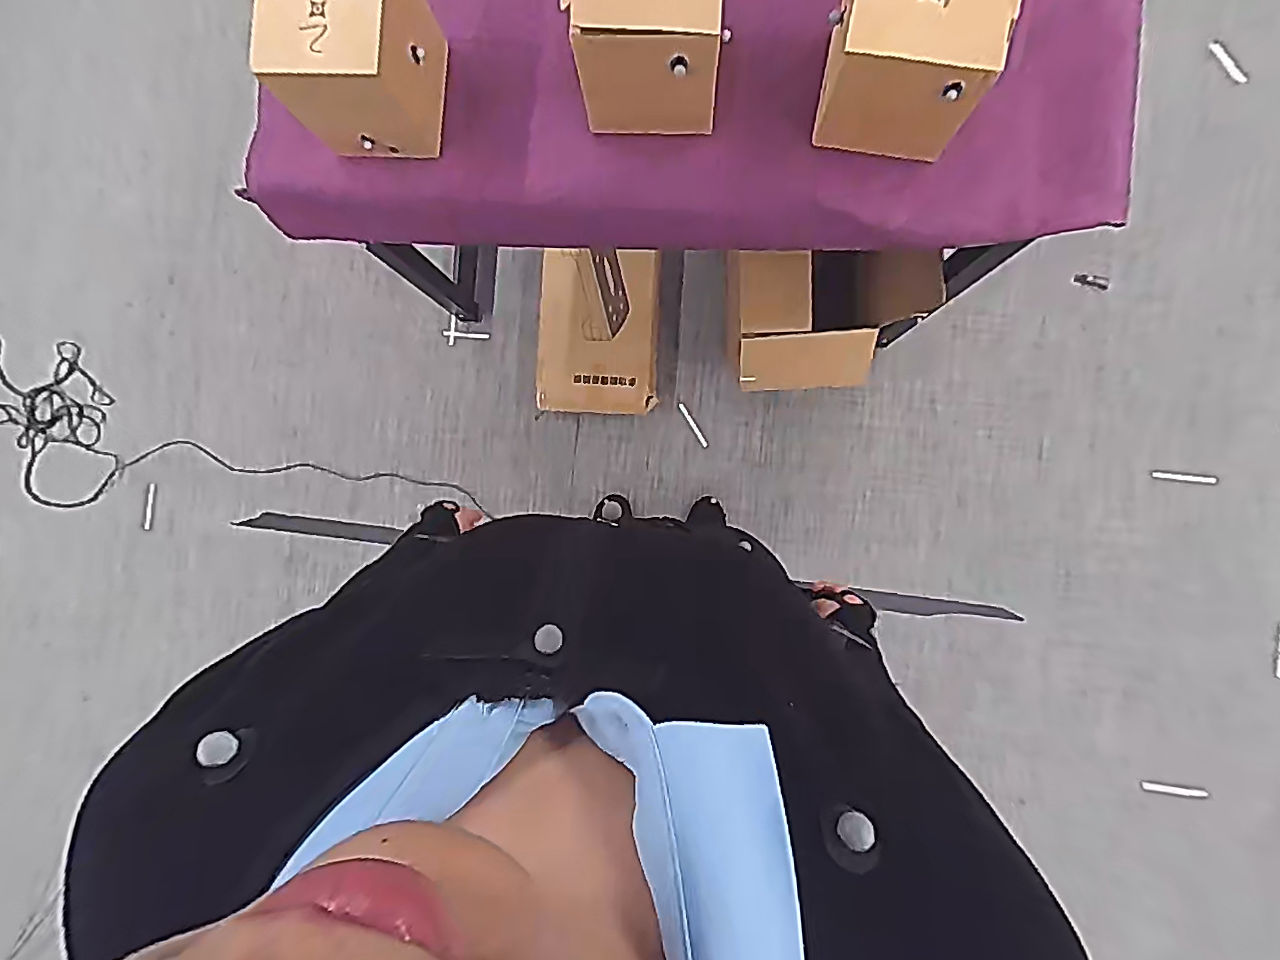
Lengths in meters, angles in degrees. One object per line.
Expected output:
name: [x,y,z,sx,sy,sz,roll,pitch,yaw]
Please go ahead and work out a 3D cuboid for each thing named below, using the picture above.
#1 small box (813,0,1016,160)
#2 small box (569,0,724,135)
small box: [0.330,-0.533,0.673,0.179,0.176,0.168,11,89,4]
small box: [0.015,-0.577,0.696,0.179,0.176,0.168,3,87,4]
